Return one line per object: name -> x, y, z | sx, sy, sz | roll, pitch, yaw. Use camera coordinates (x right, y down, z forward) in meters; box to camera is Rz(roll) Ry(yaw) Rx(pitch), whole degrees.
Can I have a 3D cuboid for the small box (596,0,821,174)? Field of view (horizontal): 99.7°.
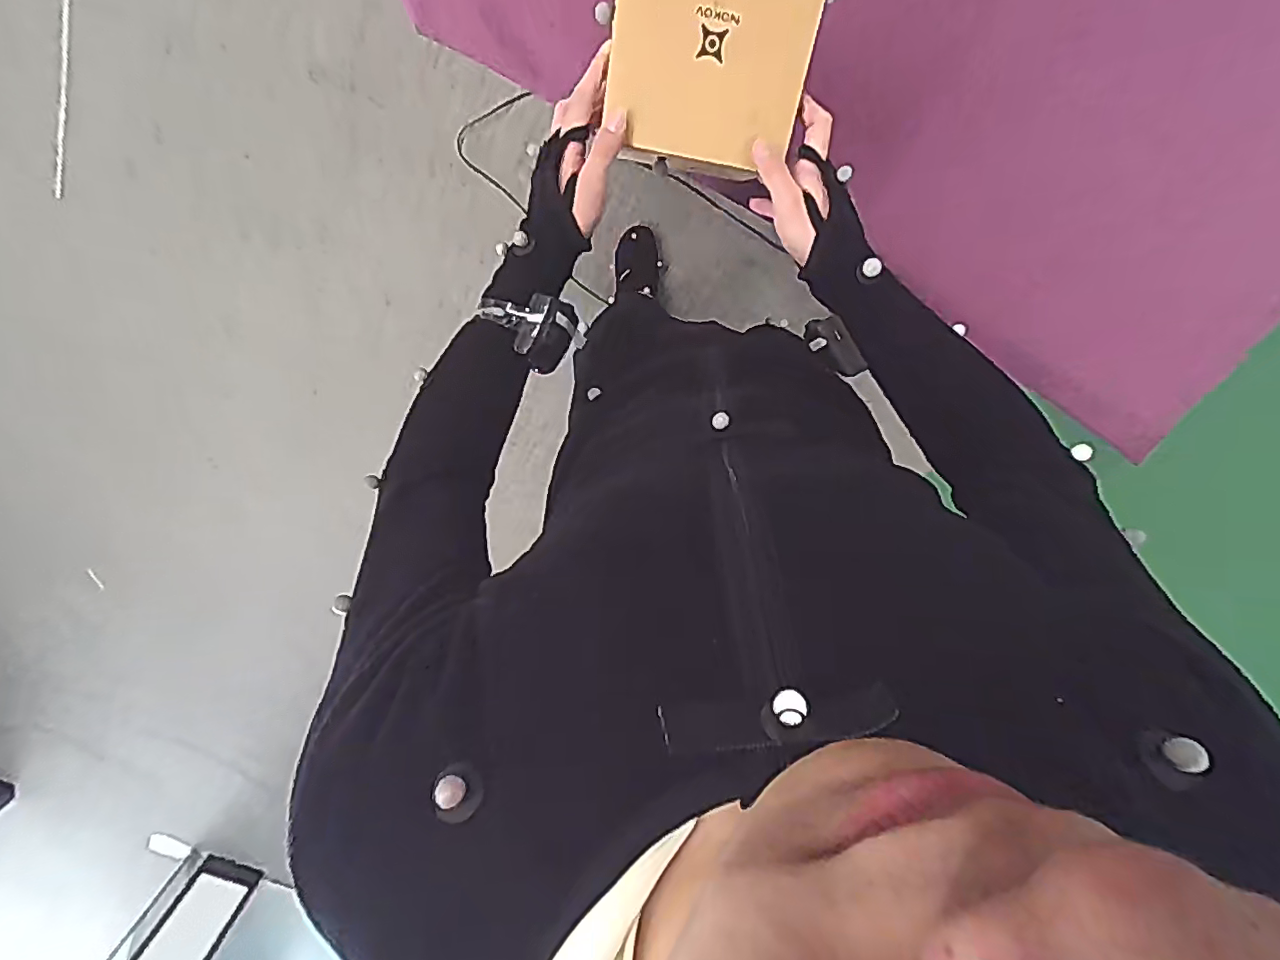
small box -> 0.057, -0.399, 0.505 | 0.168, 0.176, 0.179 | 9, 116, -5
